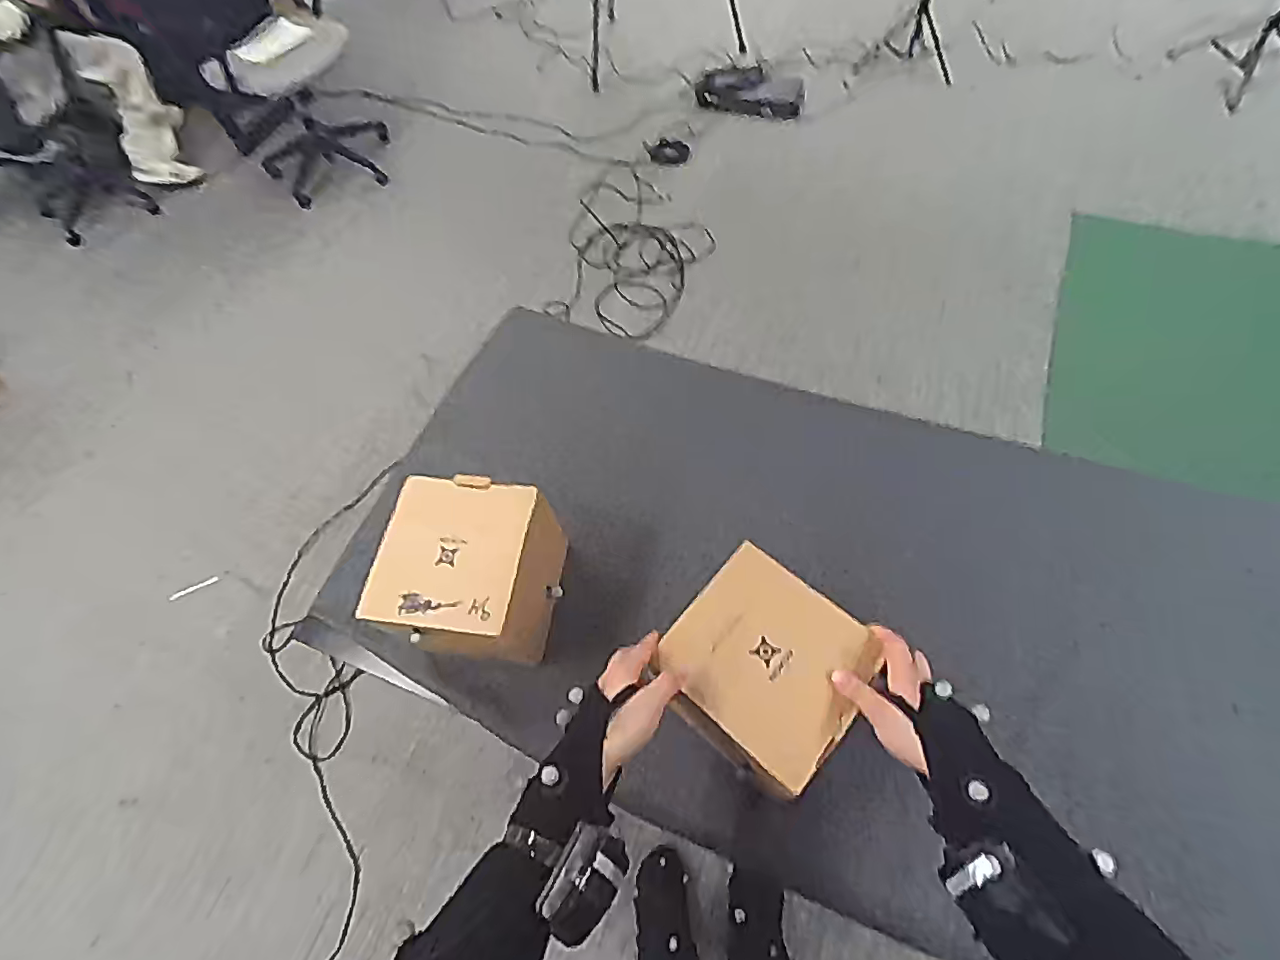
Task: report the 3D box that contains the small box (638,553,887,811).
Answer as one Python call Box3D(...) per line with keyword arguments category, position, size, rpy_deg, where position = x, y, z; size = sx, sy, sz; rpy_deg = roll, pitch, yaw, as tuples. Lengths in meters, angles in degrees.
Box3D(category="small box", position=(0.120, 0.216, 0.577), size=(0.179, 0.176, 0.168), rpy_deg=(36, 67, 23))

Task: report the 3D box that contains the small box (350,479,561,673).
Box3D(category="small box", position=(-0.205, 0.121, 0.664), size=(0.168, 0.176, 0.179), rpy_deg=(5, 61, 10))

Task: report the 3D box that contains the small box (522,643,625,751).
Box3D(category="small box", position=(-0.147, 0.518, 1.277), size=(0.168, 0.176, 0.179), rpy_deg=(21, 64, 17))
